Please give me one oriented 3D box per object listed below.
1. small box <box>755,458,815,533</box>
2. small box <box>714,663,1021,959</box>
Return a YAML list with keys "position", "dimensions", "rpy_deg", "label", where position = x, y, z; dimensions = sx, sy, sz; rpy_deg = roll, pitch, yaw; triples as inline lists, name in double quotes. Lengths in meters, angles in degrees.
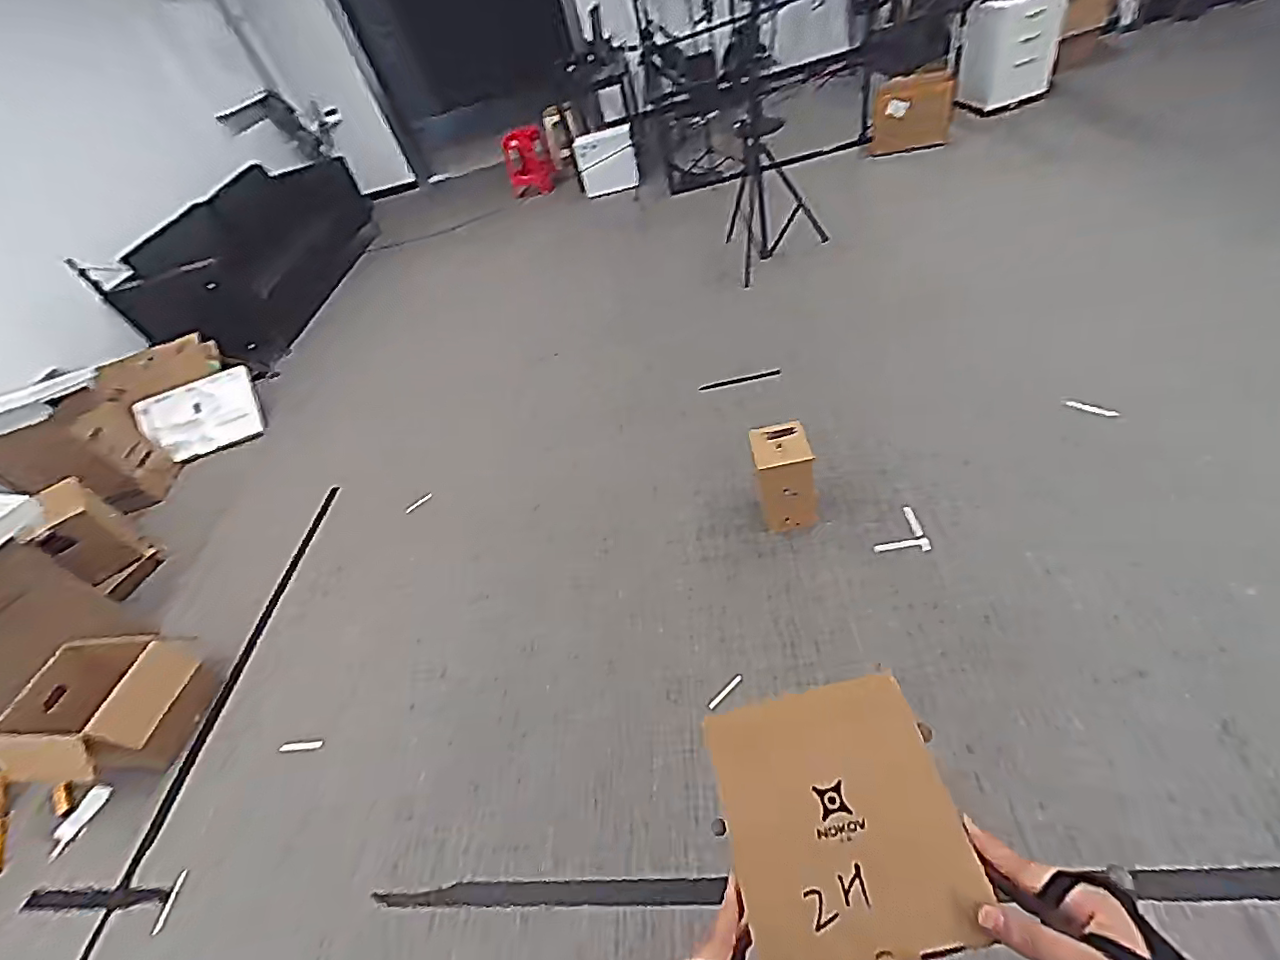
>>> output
- position: [0.488, 0.055, 1.829]
  dimensions: [0.168, 0.176, 0.179]
  rpy_deg: [-11, 45, 9]
  label: "small box"
- position: [0.170, 0.282, 0.463]
  dimensions: [0.168, 0.176, 0.179]
  rpy_deg: [-16, 53, 6]
  label: "small box"
